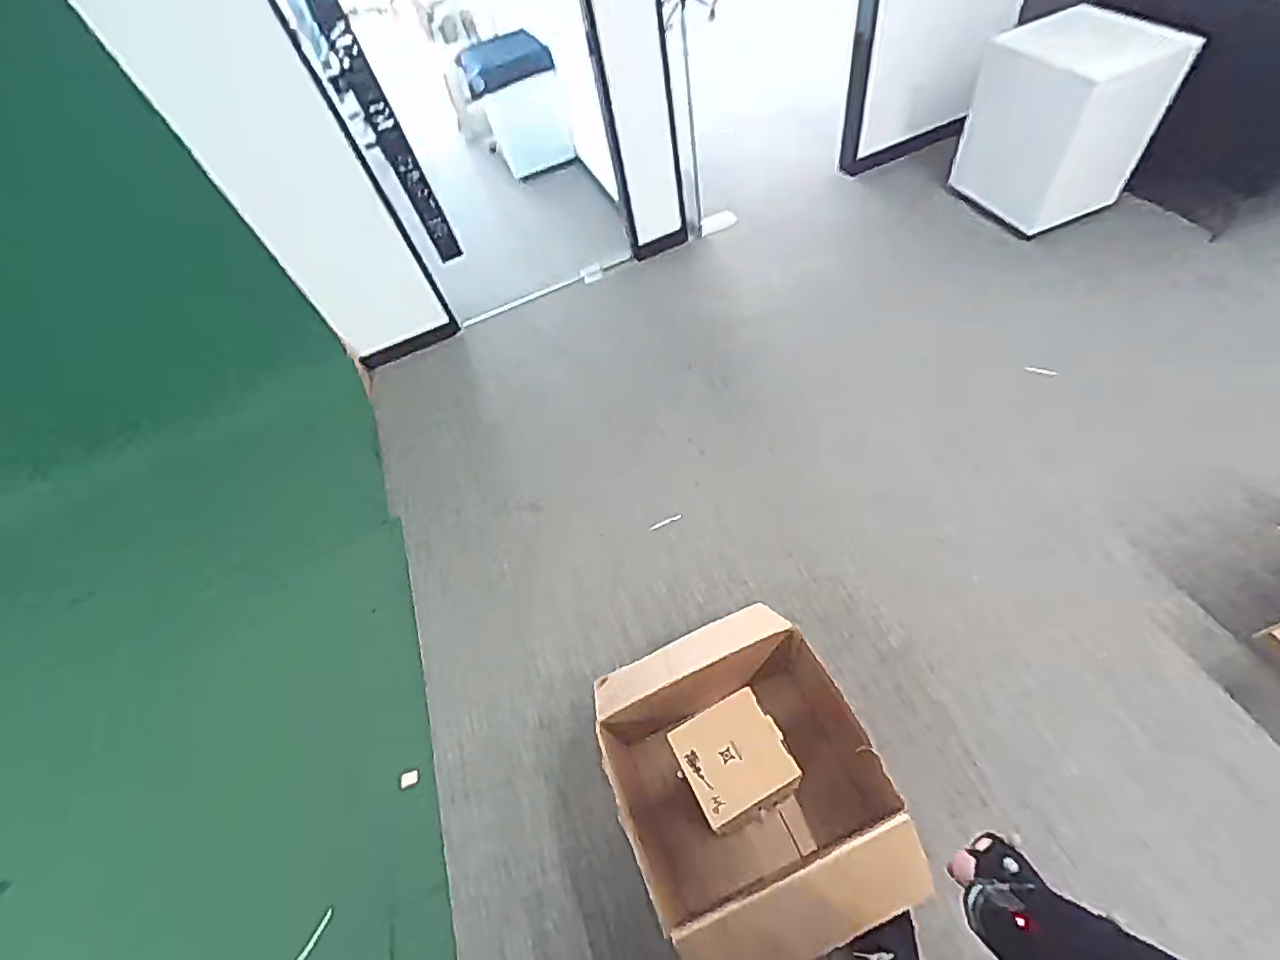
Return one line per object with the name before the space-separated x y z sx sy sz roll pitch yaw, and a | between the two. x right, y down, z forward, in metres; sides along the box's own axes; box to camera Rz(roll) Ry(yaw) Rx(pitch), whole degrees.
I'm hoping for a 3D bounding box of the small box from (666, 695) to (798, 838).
small box | 0.170 0.536 1.009 0.179 0.176 0.168 -29 54 -9
